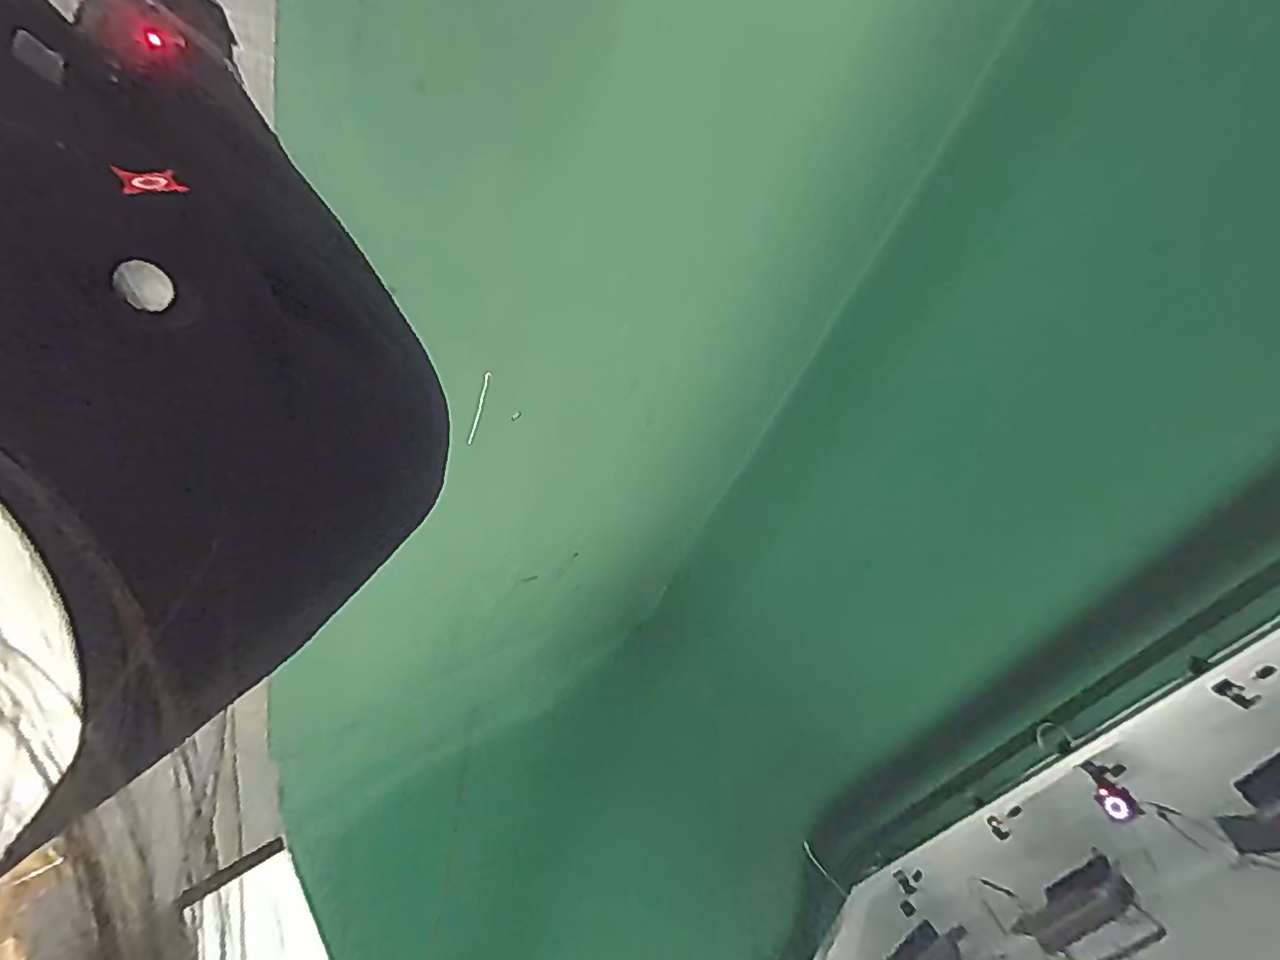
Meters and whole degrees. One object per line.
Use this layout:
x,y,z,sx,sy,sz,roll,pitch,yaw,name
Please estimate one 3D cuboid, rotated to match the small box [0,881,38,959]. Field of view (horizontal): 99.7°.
-1.759,1.242,1.448,0.179,0.176,0.168,-10,132,-50,small box
